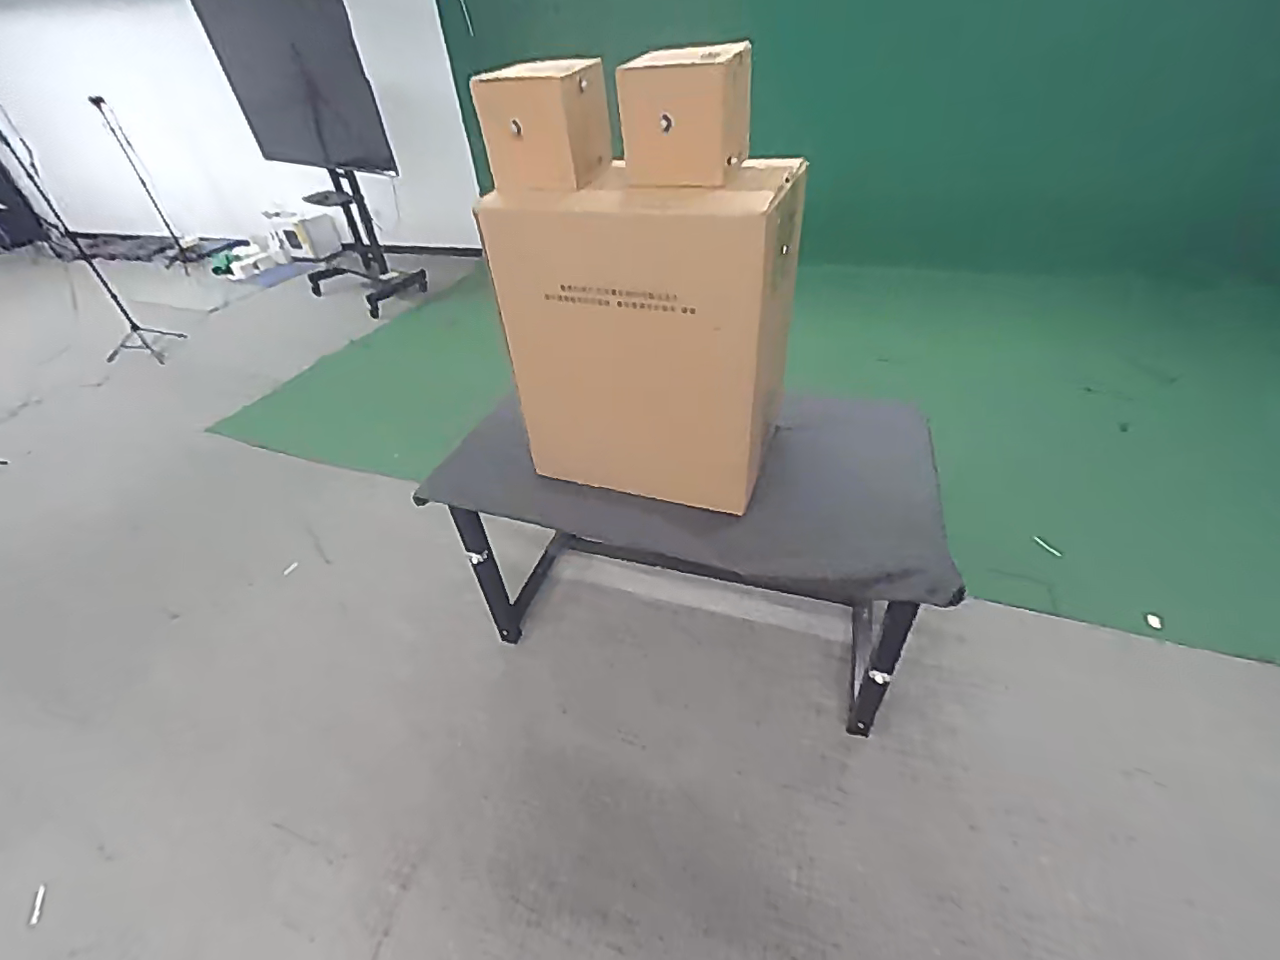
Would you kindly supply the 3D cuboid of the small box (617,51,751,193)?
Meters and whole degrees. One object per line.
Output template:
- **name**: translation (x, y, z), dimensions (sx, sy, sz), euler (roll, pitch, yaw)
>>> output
- **small box**: translation (0.082, -0.601, 0.917), dimensions (0.179, 0.176, 0.168), euler (11, 47, 21)

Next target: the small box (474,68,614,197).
- **small box**: translation (-0.164, -0.631, 0.988), dimensions (0.179, 0.176, 0.168), euler (11, 47, 20)
